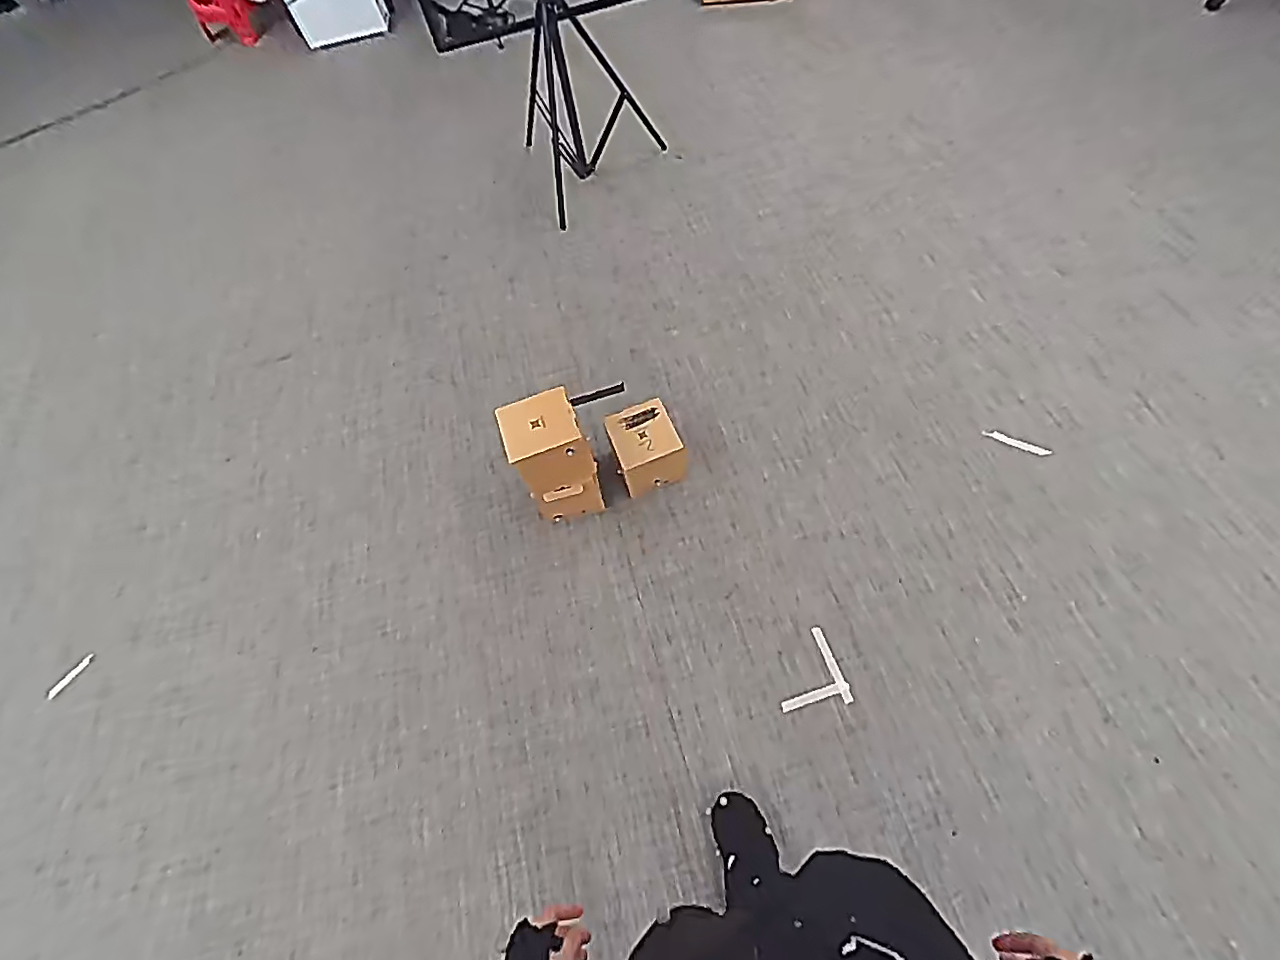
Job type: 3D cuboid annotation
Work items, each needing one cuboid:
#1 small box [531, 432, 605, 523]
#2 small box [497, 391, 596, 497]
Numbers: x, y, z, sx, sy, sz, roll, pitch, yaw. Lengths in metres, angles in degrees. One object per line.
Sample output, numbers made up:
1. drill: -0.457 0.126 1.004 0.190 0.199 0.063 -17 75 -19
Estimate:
1. small box: -0.199 0.001 1.461 0.168 0.176 0.179 -15 60 0
2. small box: -0.225 -0.082 1.323 0.179 0.176 0.168 -21 61 -4
